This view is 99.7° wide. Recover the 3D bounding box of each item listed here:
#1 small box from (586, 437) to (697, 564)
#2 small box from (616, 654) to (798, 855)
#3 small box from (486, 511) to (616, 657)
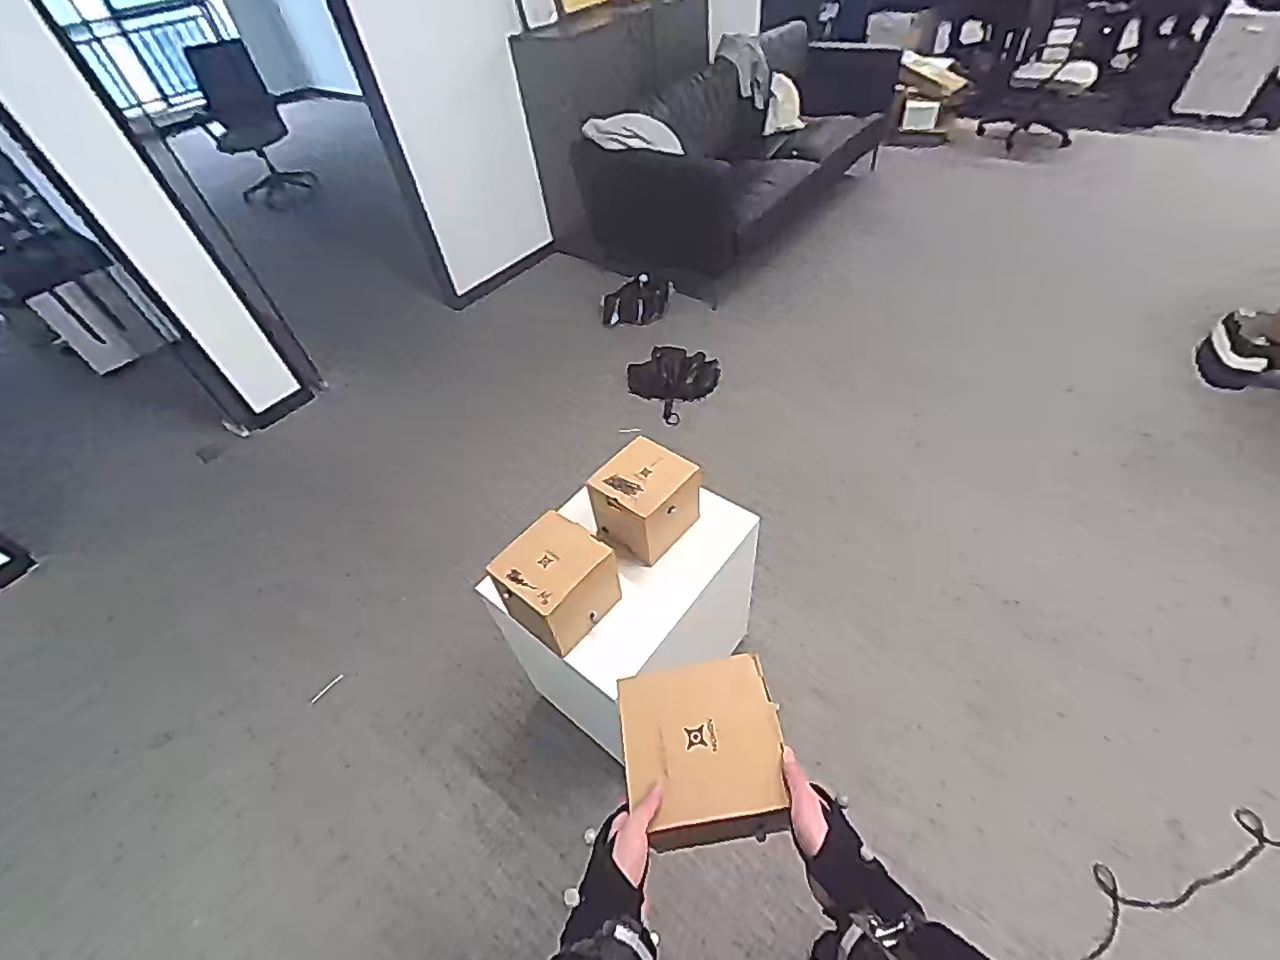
[{"bbox_3d":[0.011,0.046,1.159,0.168,0.176,0.179,31,57,30],"label":"small box"},{"bbox_3d":[0.080,0.335,0.654,0.179,0.176,0.168,-14,47,4],"label":"small box"},{"bbox_3d":[-0.160,0.200,1.038,0.168,0.176,0.179,29,56,29],"label":"small box"}]
